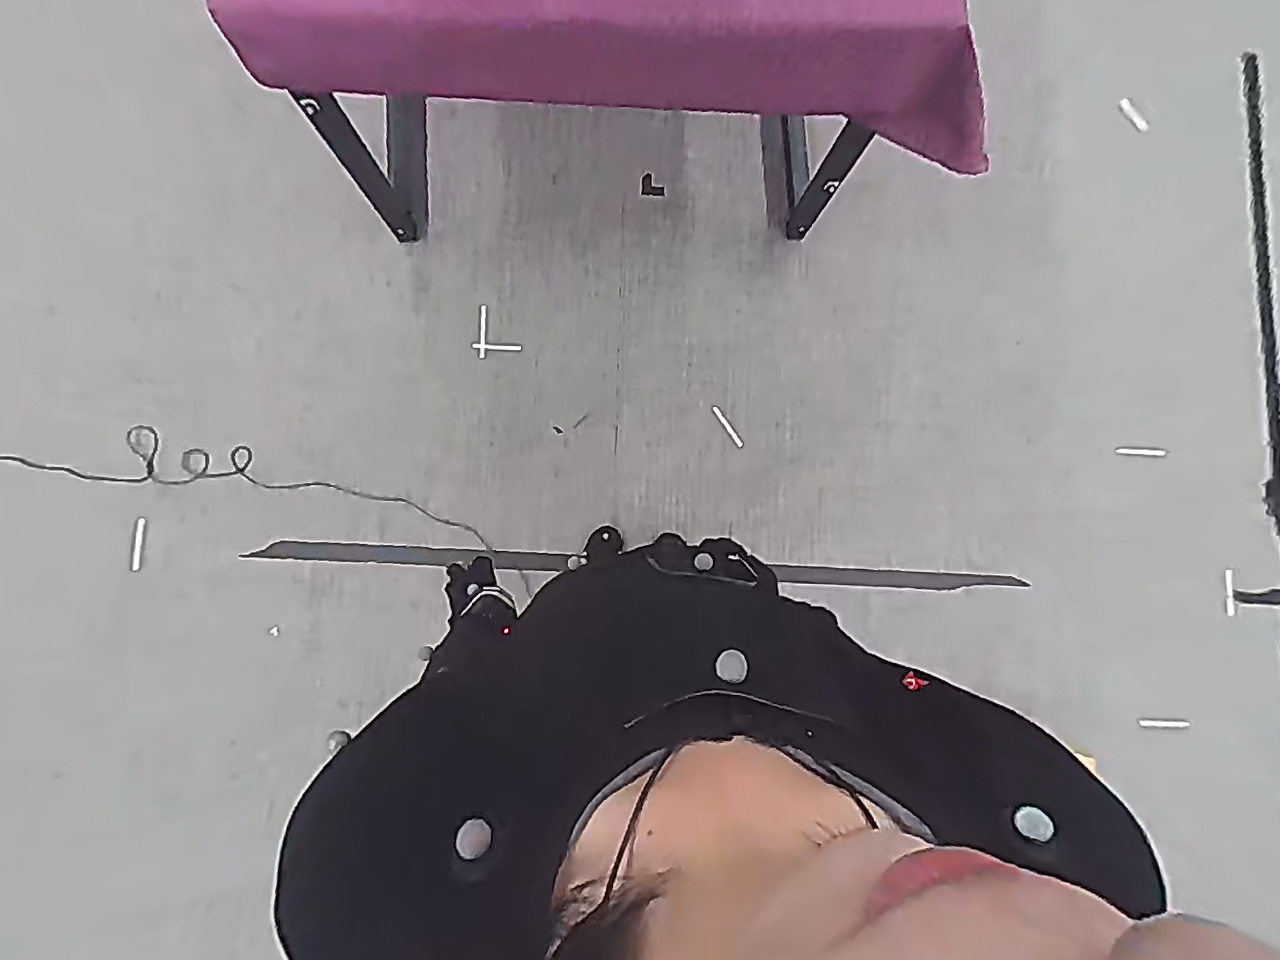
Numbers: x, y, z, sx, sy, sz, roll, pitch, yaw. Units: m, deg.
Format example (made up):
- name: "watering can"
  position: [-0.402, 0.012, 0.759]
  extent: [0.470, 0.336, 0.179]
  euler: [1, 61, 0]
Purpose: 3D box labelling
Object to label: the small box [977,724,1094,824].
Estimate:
- name: "small box"
  position: [1.065, 0.787, 1.467]
  extent: [0.179, 0.176, 0.168]
  euler: [18, 83, -1]
